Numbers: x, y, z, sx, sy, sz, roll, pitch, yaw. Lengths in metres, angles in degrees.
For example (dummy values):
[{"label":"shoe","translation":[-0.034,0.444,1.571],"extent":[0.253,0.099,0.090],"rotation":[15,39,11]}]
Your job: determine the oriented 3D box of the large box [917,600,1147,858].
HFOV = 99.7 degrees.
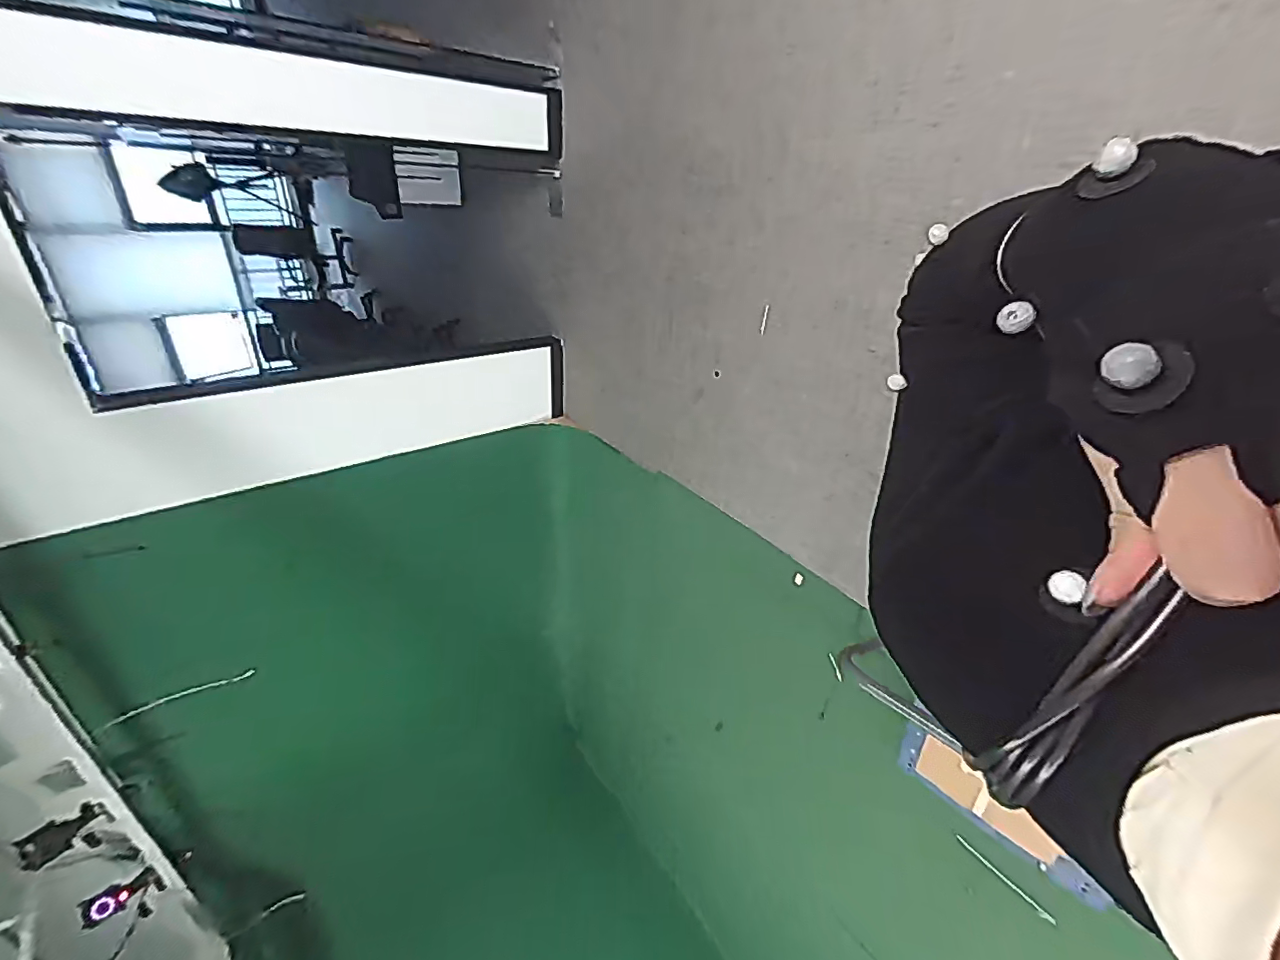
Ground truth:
[{"label":"large box","translation":[0.933,0.574,1.311],"extent":[0.320,0.320,0.408],"rotation":[29,127,44]}]
